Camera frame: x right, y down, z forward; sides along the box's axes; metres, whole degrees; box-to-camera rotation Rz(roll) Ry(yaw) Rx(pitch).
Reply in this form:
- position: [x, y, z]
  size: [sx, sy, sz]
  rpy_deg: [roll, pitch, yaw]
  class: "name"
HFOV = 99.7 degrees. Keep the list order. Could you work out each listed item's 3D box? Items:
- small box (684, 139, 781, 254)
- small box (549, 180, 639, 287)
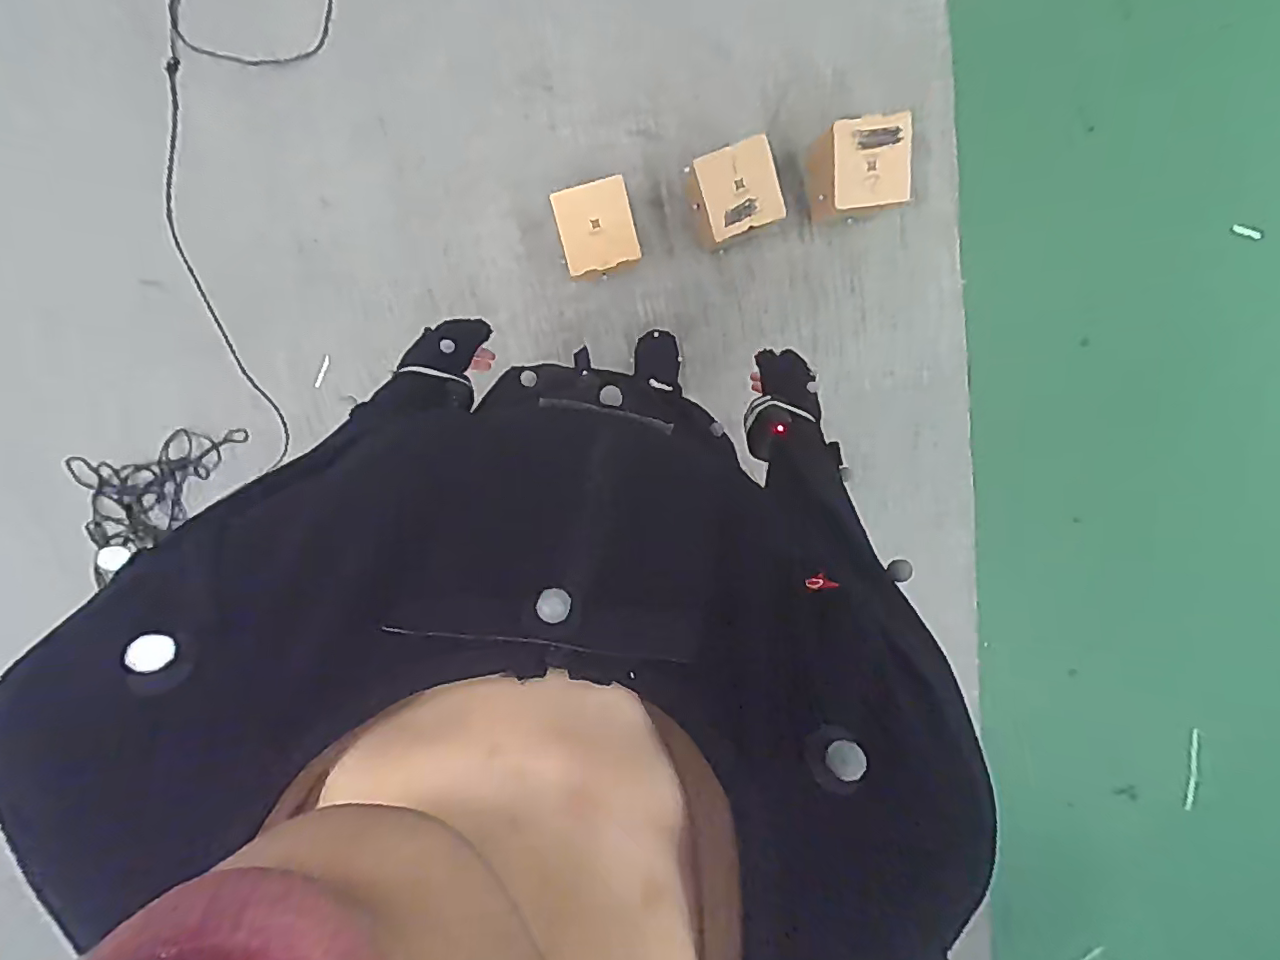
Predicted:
- position: [0.207, -0.637, 1.243]
  size: [0.168, 0.176, 0.179]
  rpy_deg: [-19, 103, 4]
  class: "small box"
- position: [-0.102, -0.566, 1.261]
  size: [0.168, 0.176, 0.179]
  rpy_deg: [-14, 105, 4]
  class: "small box"
